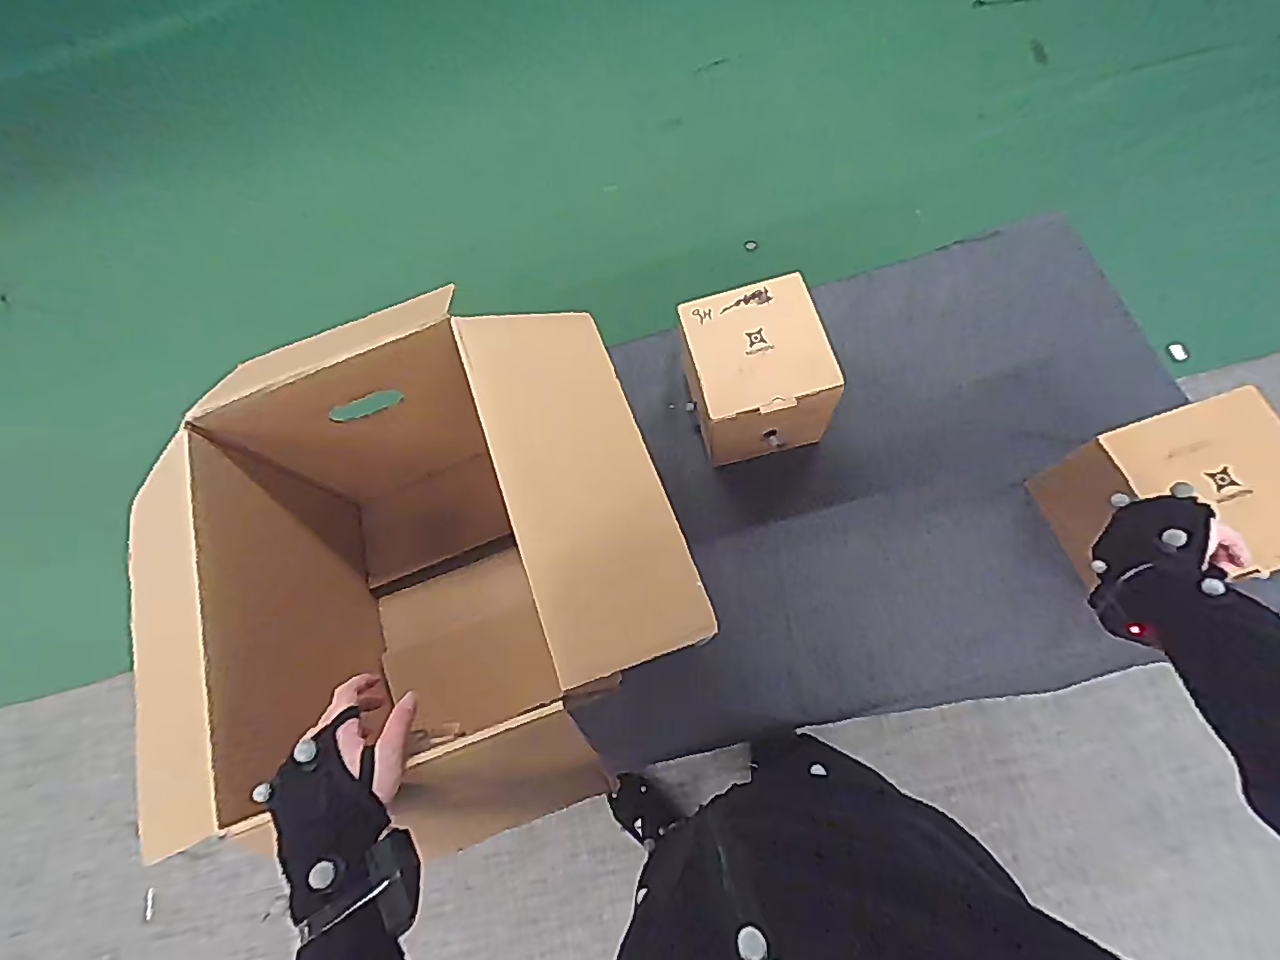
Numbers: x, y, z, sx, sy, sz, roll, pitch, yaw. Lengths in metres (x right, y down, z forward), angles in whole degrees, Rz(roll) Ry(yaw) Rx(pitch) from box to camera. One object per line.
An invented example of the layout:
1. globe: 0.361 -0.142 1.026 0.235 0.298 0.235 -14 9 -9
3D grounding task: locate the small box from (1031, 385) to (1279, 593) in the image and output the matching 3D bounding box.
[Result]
1. small box: 0.613 0.025 0.628 0.168 0.176 0.179 -19 69 4

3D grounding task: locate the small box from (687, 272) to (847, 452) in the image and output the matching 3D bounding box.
1. small box: 0.167 -0.150 0.758 0.168 0.176 0.179 -13 72 3
